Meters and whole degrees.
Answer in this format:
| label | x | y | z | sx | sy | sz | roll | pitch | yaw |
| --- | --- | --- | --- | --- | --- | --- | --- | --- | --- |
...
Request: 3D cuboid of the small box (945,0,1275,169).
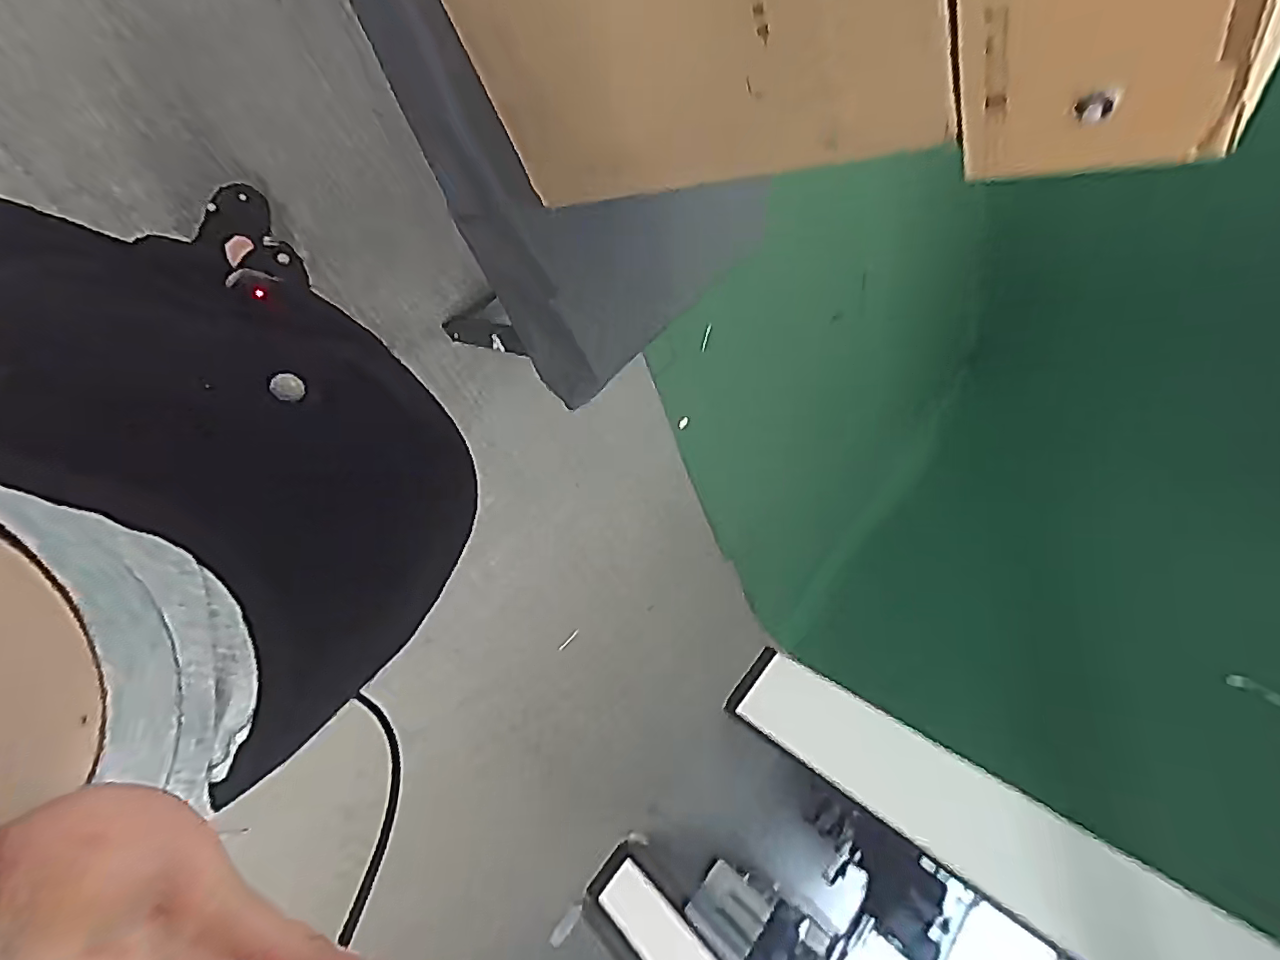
| label | x | y | z | sx | sy | sz | roll | pitch | yaw |
| --- | --- | --- | --- | --- | --- | --- | --- | --- | --- |
| small box | 0.340 | -0.356 | 0.392 | 0.179 | 0.176 | 0.168 | -54 | 137 | -16 |
